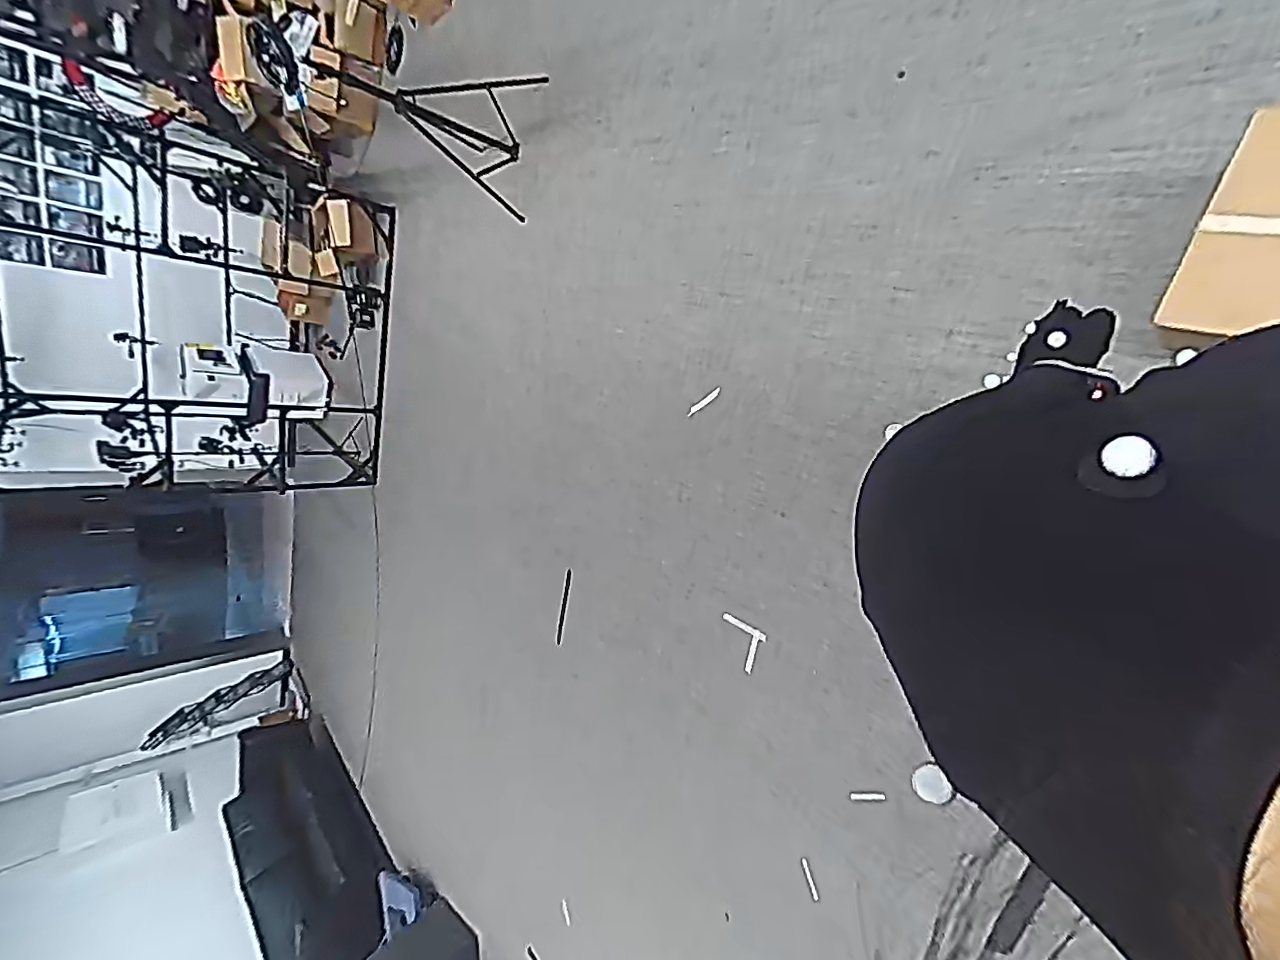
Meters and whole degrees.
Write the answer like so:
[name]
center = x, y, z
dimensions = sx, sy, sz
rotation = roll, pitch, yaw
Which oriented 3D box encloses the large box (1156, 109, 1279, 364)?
[large box]
center = 1.109, -0.339, 0.821
dimensions = 0.408, 0.320, 0.320
rotation = 28, 113, 40
